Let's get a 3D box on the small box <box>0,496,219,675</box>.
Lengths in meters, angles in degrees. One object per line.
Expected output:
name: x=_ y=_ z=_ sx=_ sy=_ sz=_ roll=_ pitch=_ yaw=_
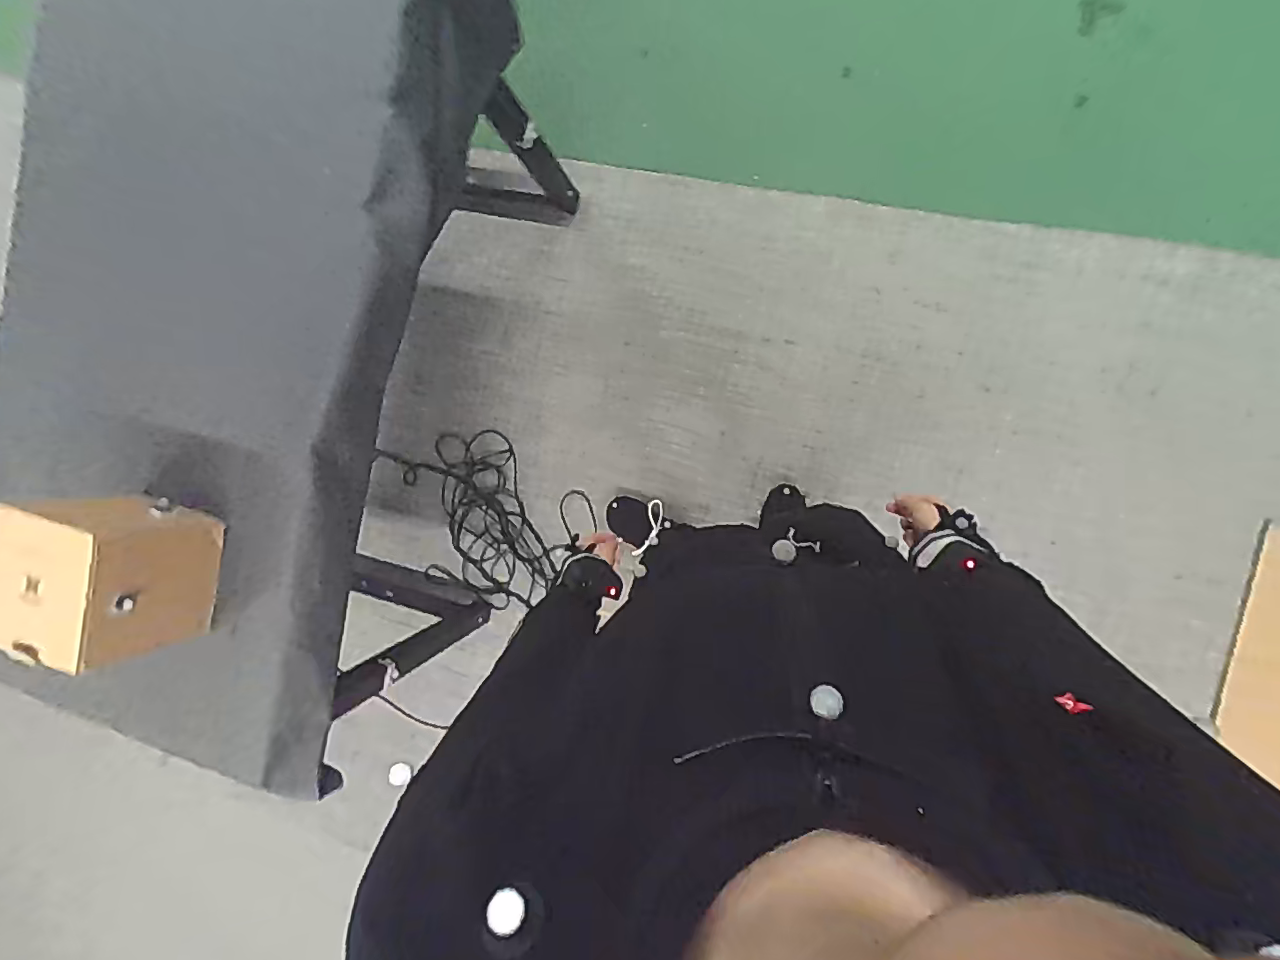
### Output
small box: x=-0.709 y=0.125 z=0.717 sx=0.168 sy=0.176 sz=0.179 roll=13 pitch=93 yaw=10
